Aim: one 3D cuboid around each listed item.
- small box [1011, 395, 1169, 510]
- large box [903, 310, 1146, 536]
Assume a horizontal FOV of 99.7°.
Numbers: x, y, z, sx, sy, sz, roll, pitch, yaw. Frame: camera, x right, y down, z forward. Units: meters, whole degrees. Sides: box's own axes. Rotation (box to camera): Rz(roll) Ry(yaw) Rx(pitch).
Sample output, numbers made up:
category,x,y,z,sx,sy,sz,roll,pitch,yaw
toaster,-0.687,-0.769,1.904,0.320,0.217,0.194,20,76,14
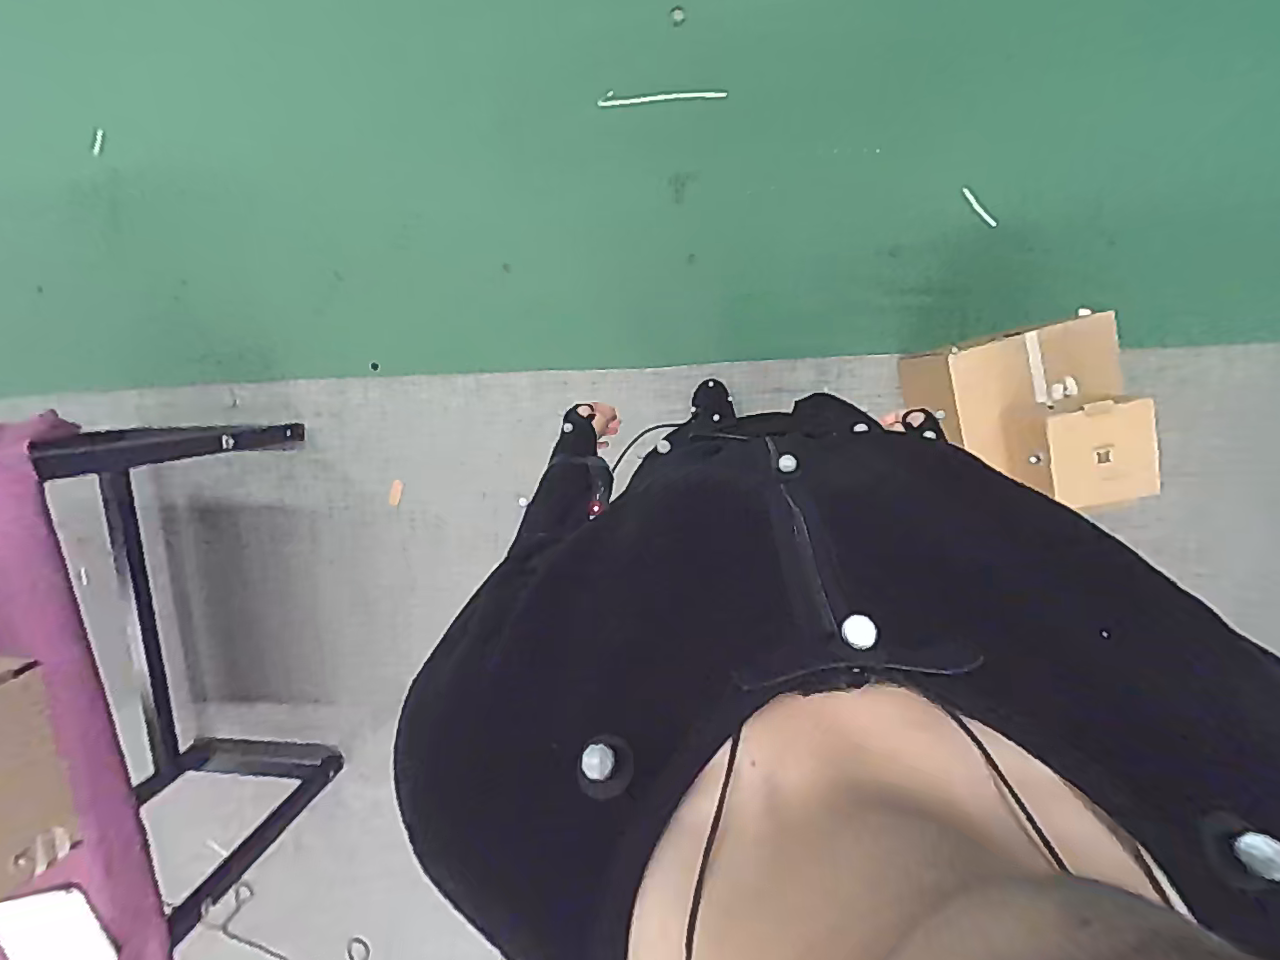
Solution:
category,x,y,z,sx,sy,sz,roll,pitch,yaw
small box,0.822,-0.058,1.006,0.168,0.176,0.179,-11,99,12
large box,0.848,-0.129,1.242,0.320,0.320,0.408,-14,97,9
